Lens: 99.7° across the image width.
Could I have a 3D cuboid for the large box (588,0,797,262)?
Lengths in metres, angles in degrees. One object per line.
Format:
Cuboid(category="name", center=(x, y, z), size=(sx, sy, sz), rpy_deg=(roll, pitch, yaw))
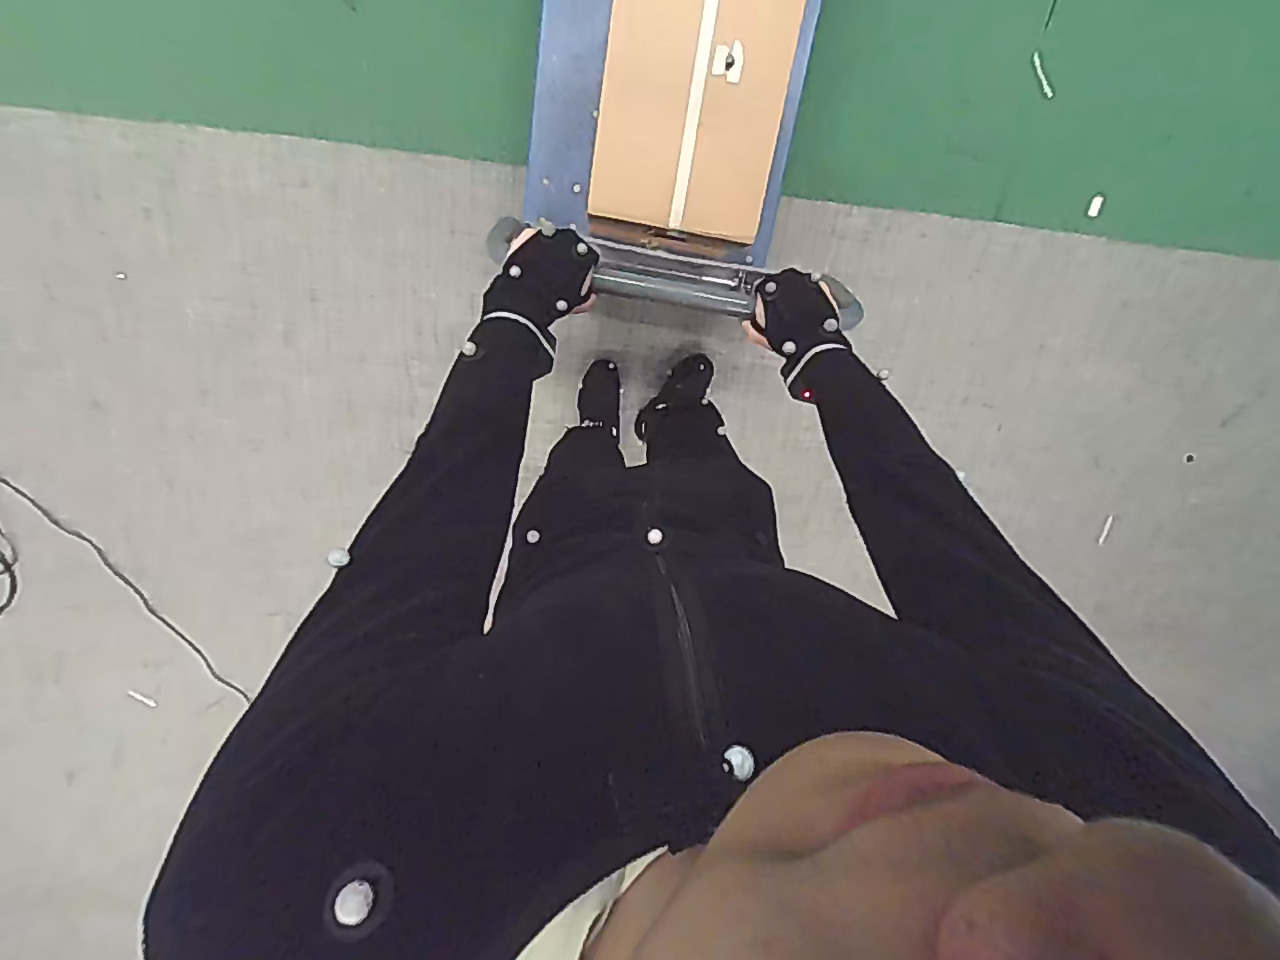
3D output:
Cuboid(category="large box", center=(0.074, -0.679, 1.074), size=(0.320, 0.320, 0.408), rpy_deg=(7, 106, -7))
